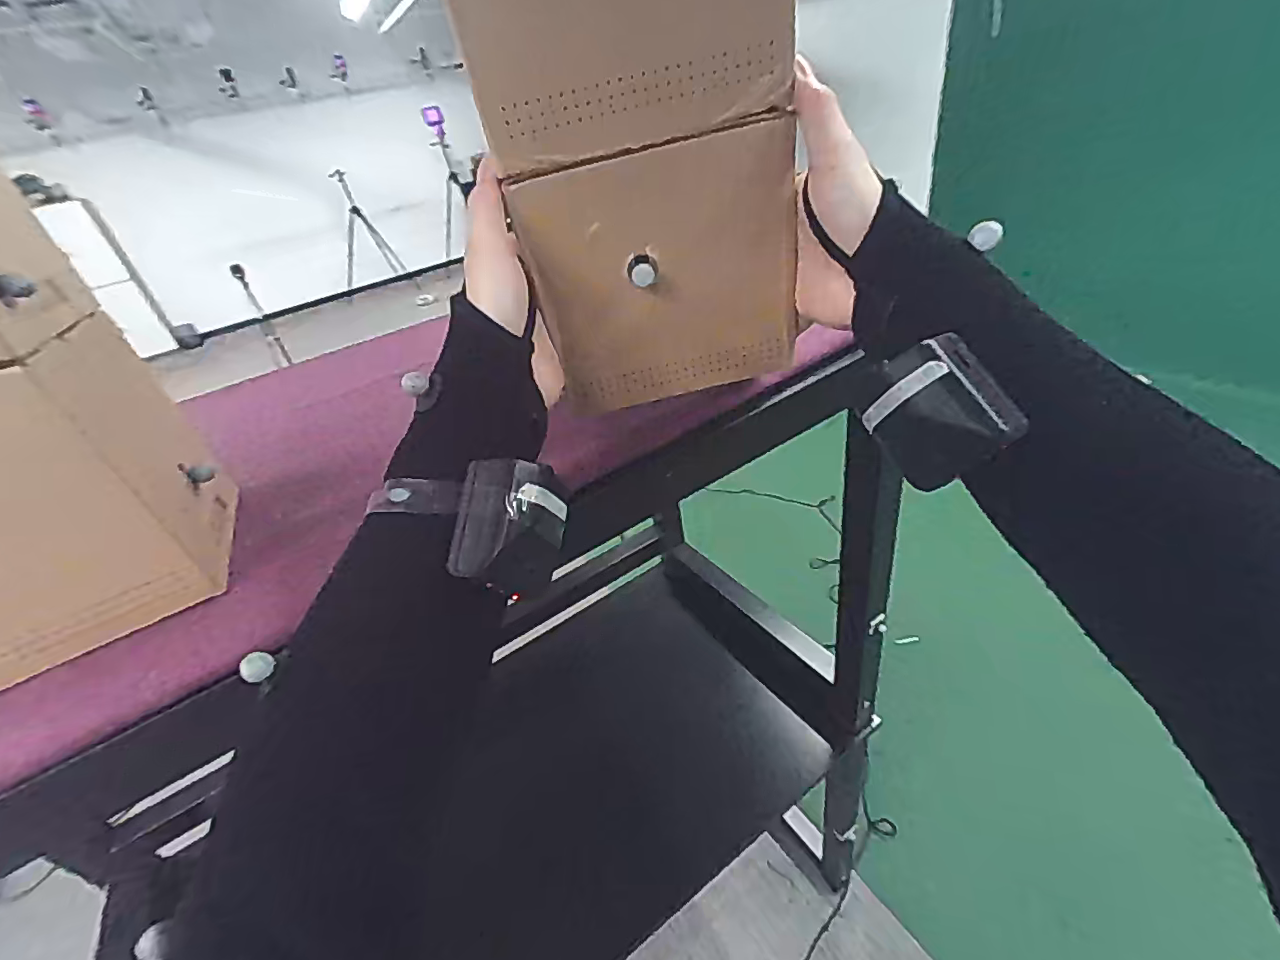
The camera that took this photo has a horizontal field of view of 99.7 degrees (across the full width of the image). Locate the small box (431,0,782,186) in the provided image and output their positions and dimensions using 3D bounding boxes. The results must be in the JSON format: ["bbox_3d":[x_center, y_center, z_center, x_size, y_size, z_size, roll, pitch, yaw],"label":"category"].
[{"bbox_3d":[-0.028,-0.292,0.315,0.179,0.176,0.168,-15,41,1],"label":"small box"}]

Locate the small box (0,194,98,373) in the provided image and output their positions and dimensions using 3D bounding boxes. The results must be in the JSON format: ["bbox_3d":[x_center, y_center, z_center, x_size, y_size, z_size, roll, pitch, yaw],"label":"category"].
[{"bbox_3d":[-0.437,-0.111,0.263,0.179,0.176,0.168,-28,36,-18],"label":"small box"}]

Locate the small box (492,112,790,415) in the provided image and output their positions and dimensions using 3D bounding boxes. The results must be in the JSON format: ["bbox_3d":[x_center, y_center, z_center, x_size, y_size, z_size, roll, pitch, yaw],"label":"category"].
[{"bbox_3d":[0.006,-0.172,0.420,0.179,0.176,0.168,-14,41,2],"label":"small box"}]
